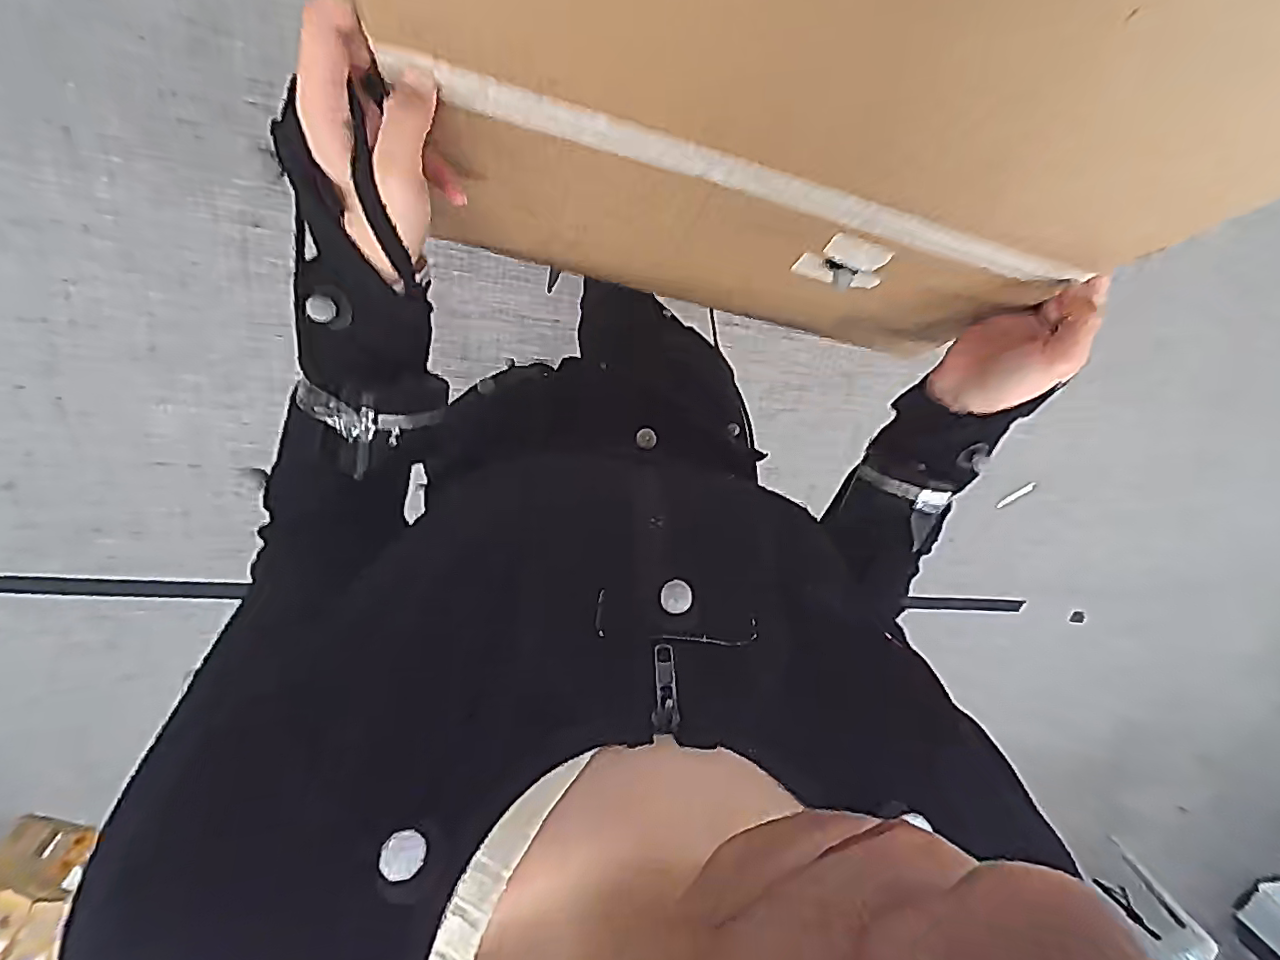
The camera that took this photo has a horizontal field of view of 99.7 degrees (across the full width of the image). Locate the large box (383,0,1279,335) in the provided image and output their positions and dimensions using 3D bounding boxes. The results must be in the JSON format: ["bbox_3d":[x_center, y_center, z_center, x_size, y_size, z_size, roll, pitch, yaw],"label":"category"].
[{"bbox_3d":[0.094,-0.317,0.305,0.408,0.320,0.320,9,84,-13],"label":"large box"}]
